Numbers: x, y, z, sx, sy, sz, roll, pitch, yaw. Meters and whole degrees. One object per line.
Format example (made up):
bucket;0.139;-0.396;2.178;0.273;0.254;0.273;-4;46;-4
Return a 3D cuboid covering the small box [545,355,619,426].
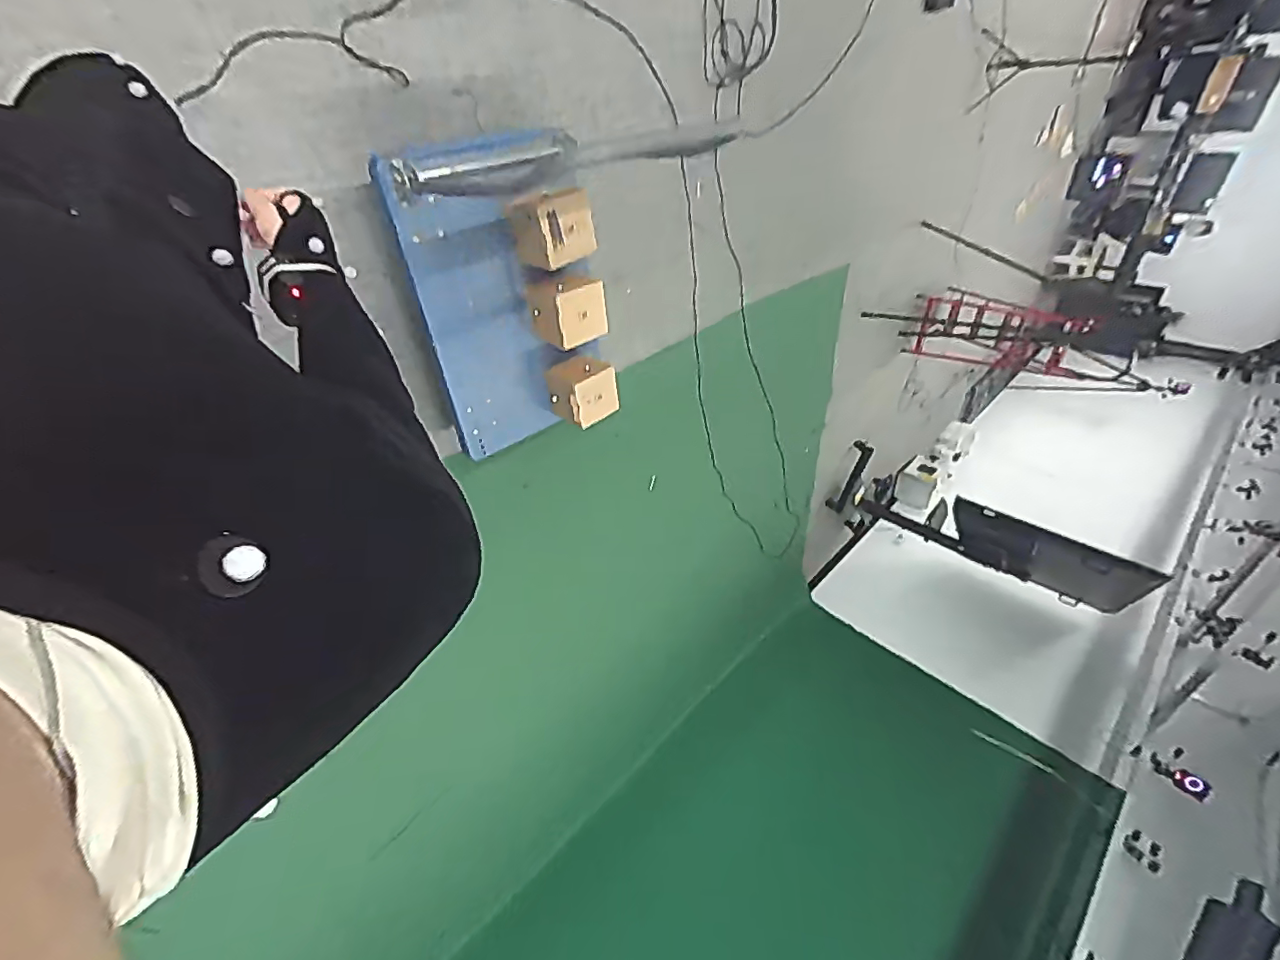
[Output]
small box;-0.199;-0.314;1.854;0.179;0.176;0.168;-33;134;-30

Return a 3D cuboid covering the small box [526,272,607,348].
small box;-0.228;-0.534;1.684;0.179;0.176;0.168;-32;135;-30
